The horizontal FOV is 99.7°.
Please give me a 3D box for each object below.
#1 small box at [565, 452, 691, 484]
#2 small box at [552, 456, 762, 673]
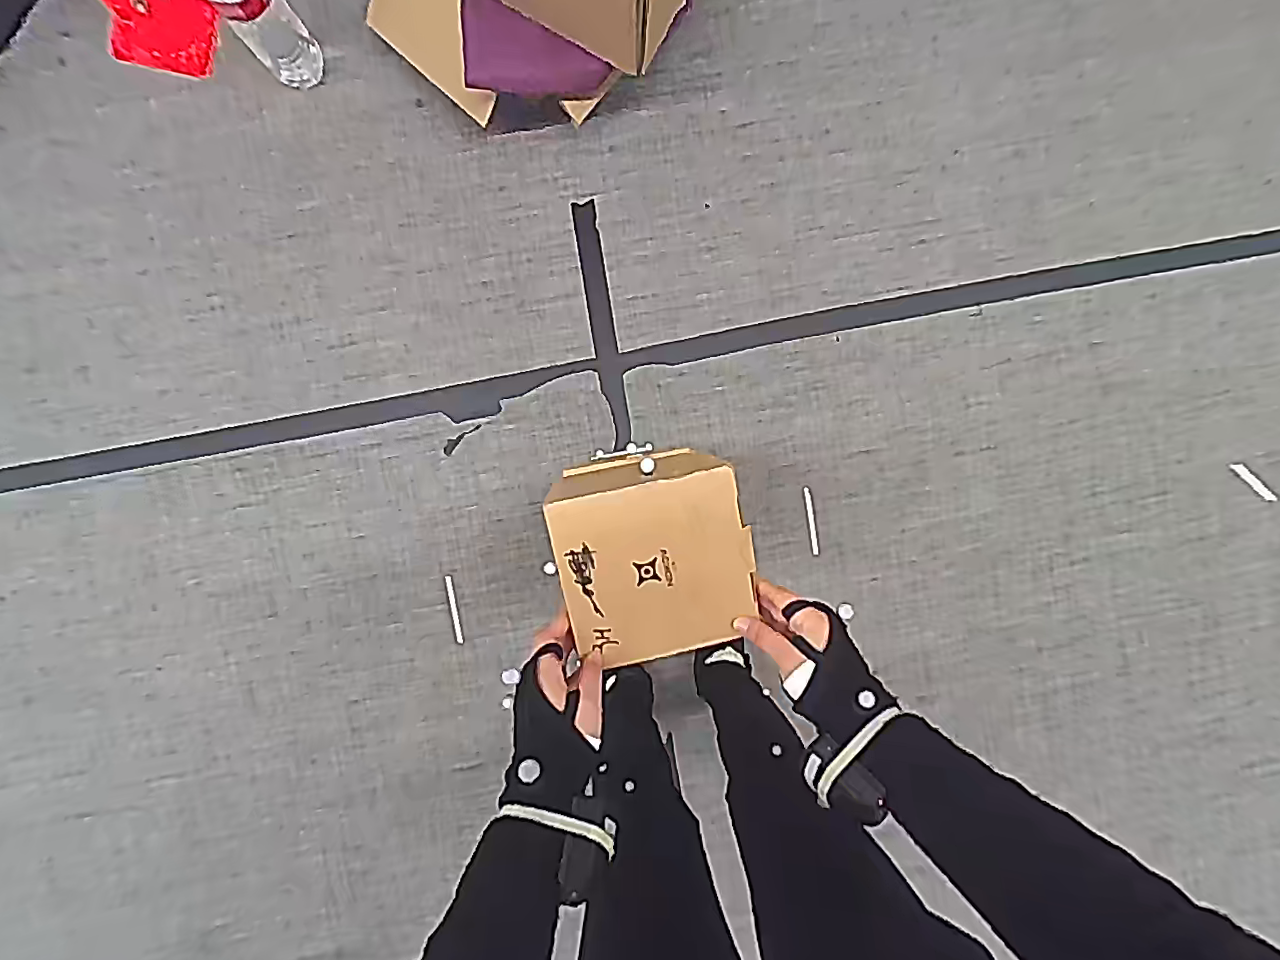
[{"bbox_3d":[-0.005,0.057,0.763,0.168,0.176,0.179,-10,93,-3],"label":"small box"},{"bbox_3d":[0.010,0.073,0.574,0.179,0.176,0.168,-12,98,-4],"label":"small box"}]
